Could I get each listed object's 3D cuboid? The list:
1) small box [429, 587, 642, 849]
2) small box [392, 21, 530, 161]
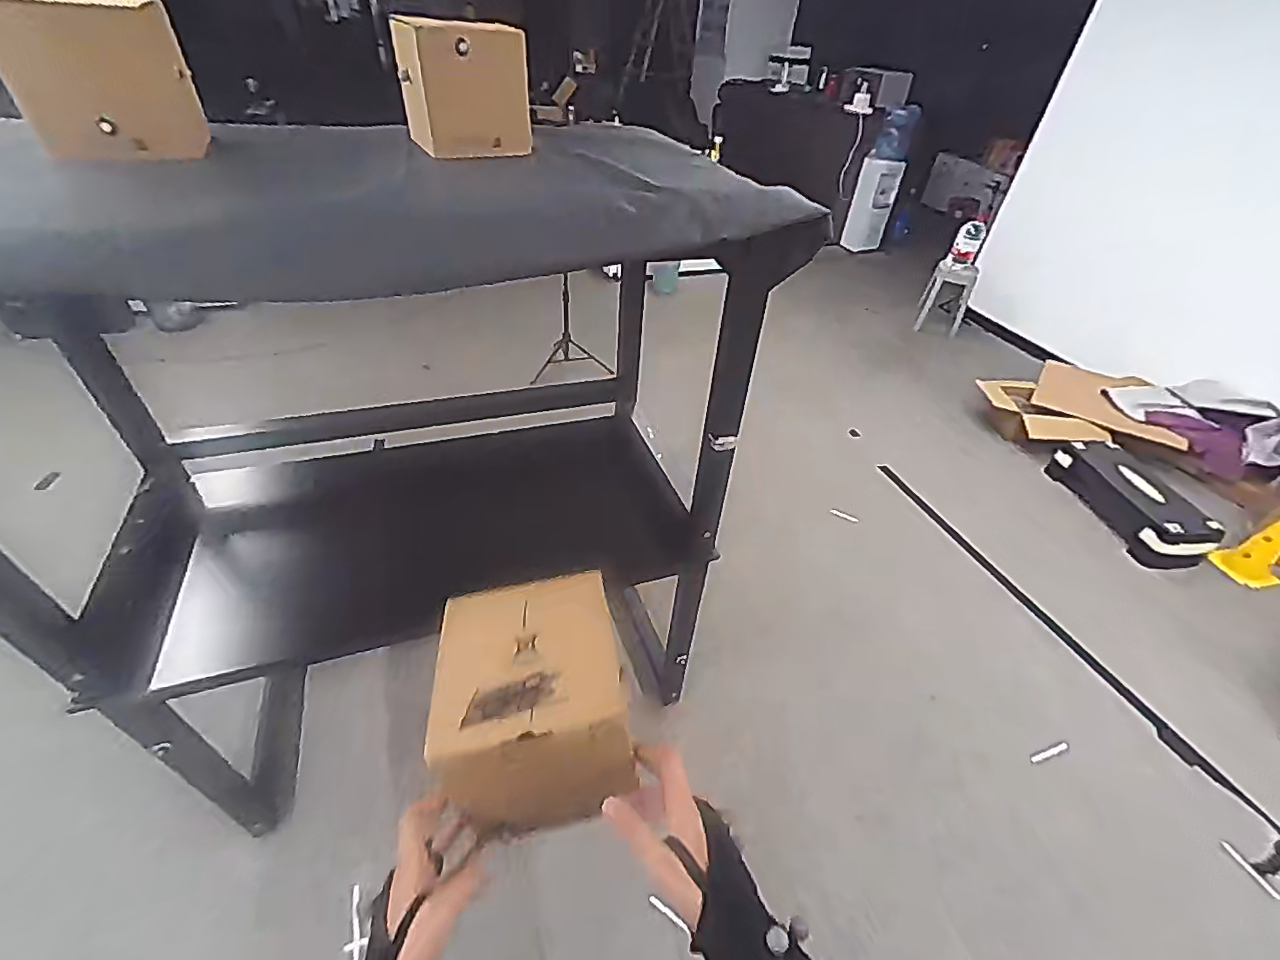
[{"bbox_3d":[-0.097,0.242,0.551,0.168,0.176,0.179,-10,34,-6],"label":"small box"},{"bbox_3d":[-0.290,-0.637,0.889,0.168,0.176,0.179,-18,46,-24],"label":"small box"}]
